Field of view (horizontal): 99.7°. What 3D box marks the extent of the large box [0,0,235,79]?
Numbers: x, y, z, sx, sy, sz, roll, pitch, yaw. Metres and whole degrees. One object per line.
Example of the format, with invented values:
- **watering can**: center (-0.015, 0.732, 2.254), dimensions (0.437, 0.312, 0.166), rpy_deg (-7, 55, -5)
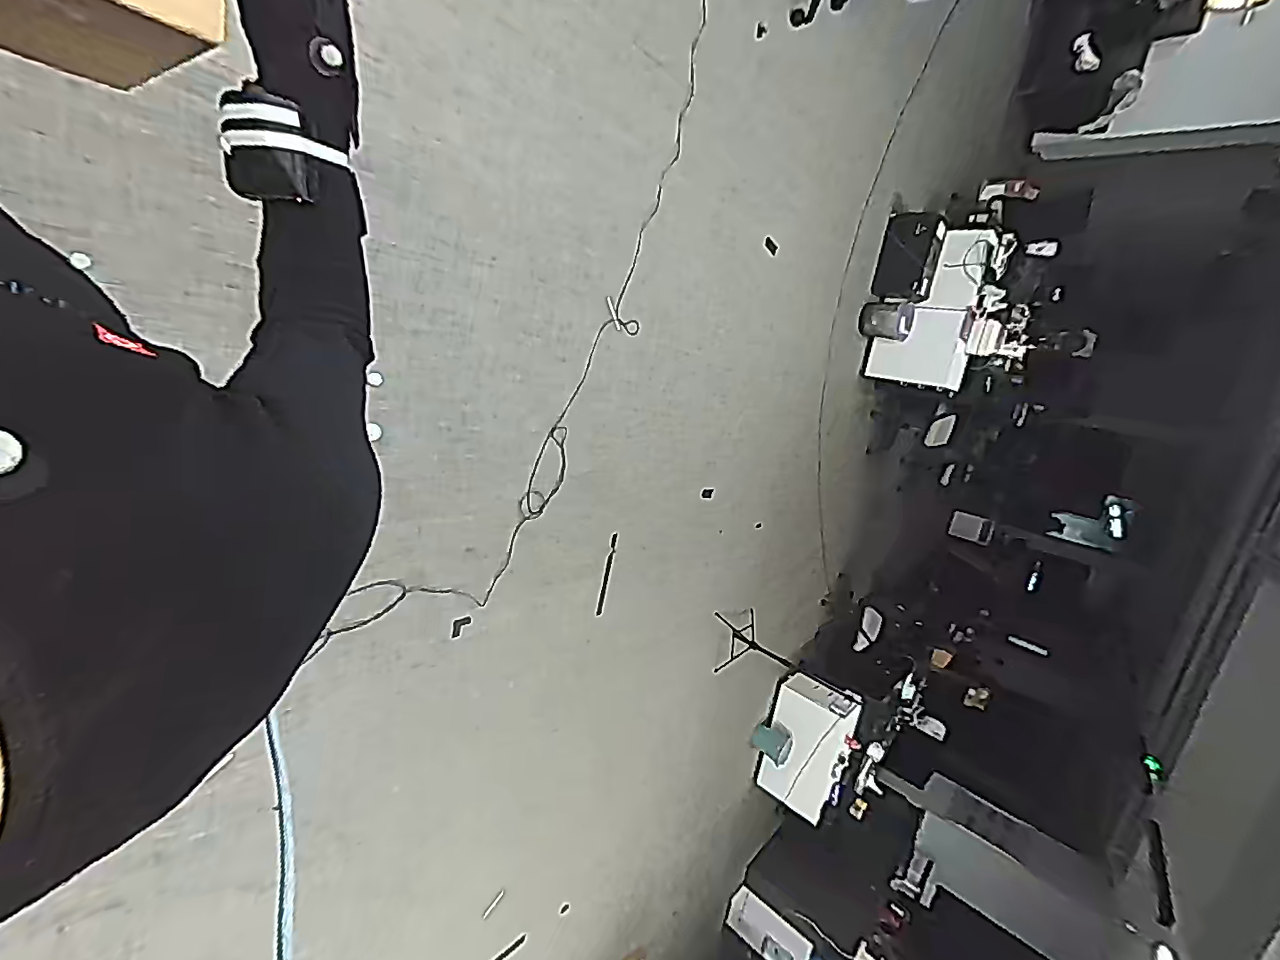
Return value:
- **large box**: center (-0.489, -0.470, 0.258), dimensions (0.408, 0.320, 0.320), rpy_deg (-9, 116, -52)
